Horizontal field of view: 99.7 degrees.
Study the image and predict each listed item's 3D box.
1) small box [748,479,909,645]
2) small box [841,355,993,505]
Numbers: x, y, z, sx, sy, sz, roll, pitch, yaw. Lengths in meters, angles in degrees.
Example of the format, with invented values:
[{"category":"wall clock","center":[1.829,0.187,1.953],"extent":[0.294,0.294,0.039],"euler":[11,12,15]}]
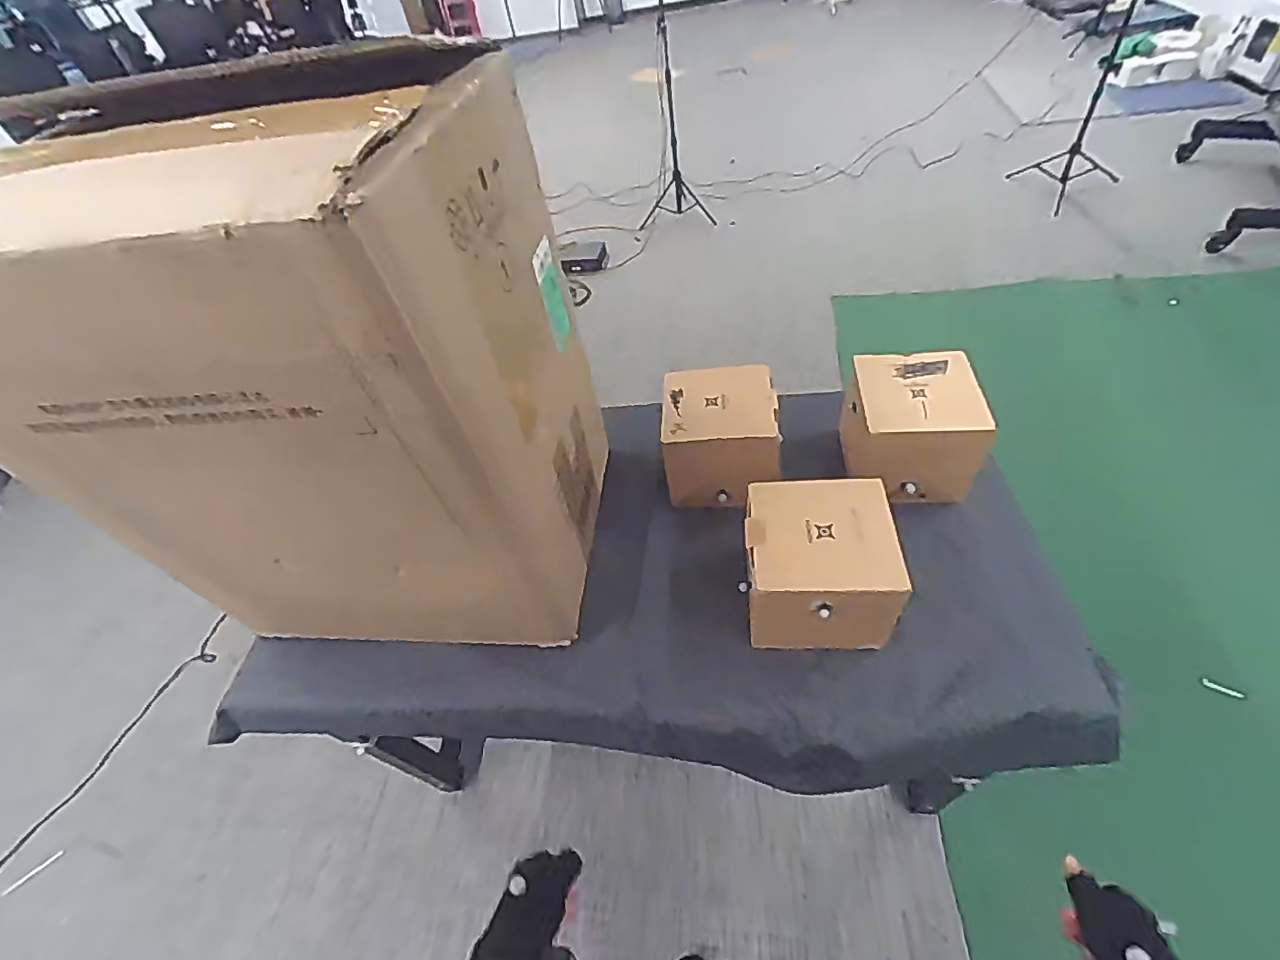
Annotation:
[{"category":"small box","center":[0.240,0.116,0.740],"extent":[0.179,0.176,0.168],"euler":[-2,51,8]},{"category":"small box","center":[0.427,-0.079,0.870],"extent":[0.168,0.176,0.179],"euler":[-1,50,11]}]
